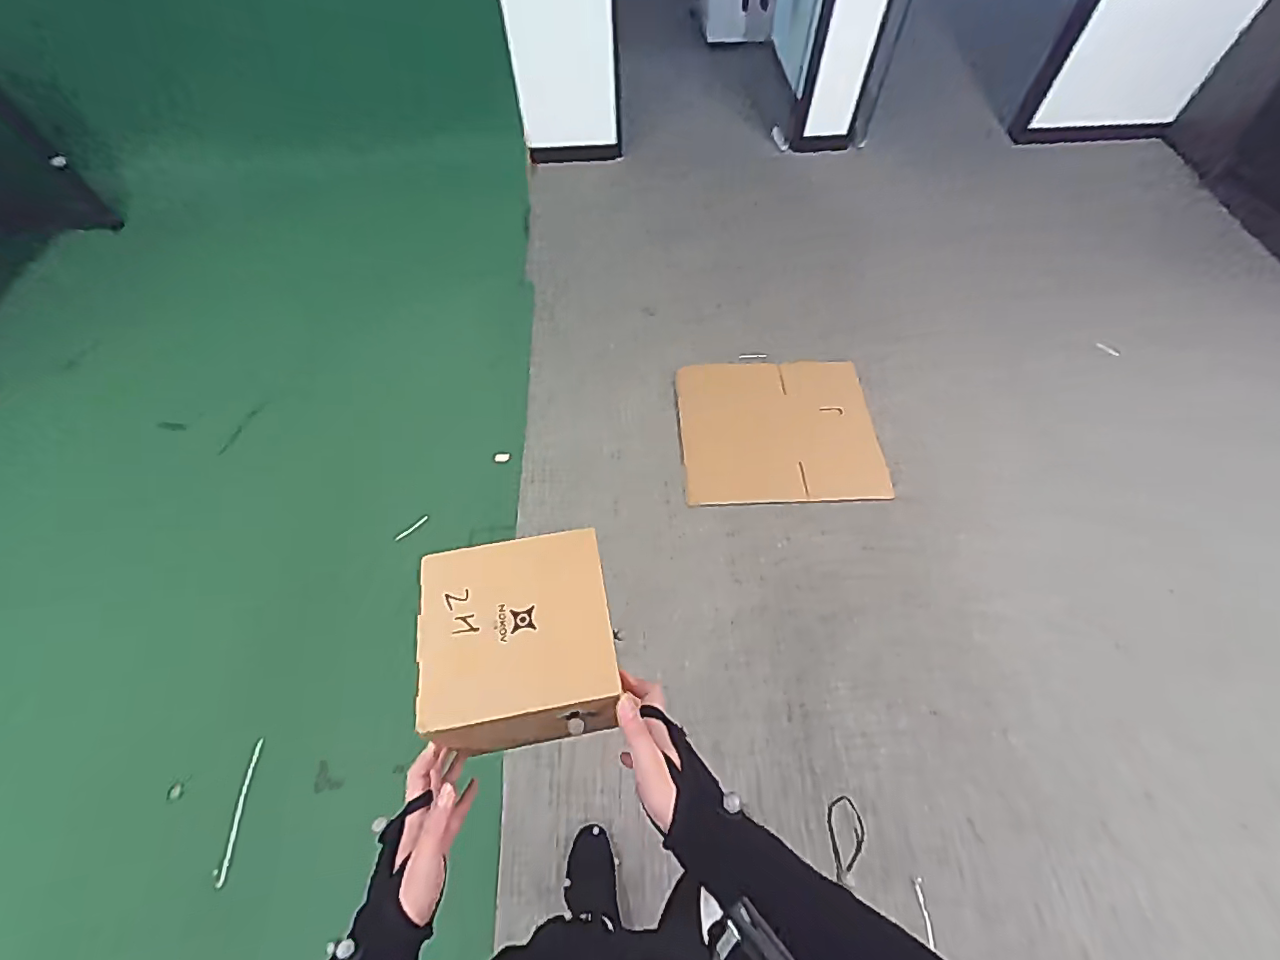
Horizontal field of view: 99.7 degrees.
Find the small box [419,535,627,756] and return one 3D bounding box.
[{"bbox_3d":[-0.110,0.177,0.563,0.179,0.176,0.168,-9,57,-5],"label":"small box"}]
